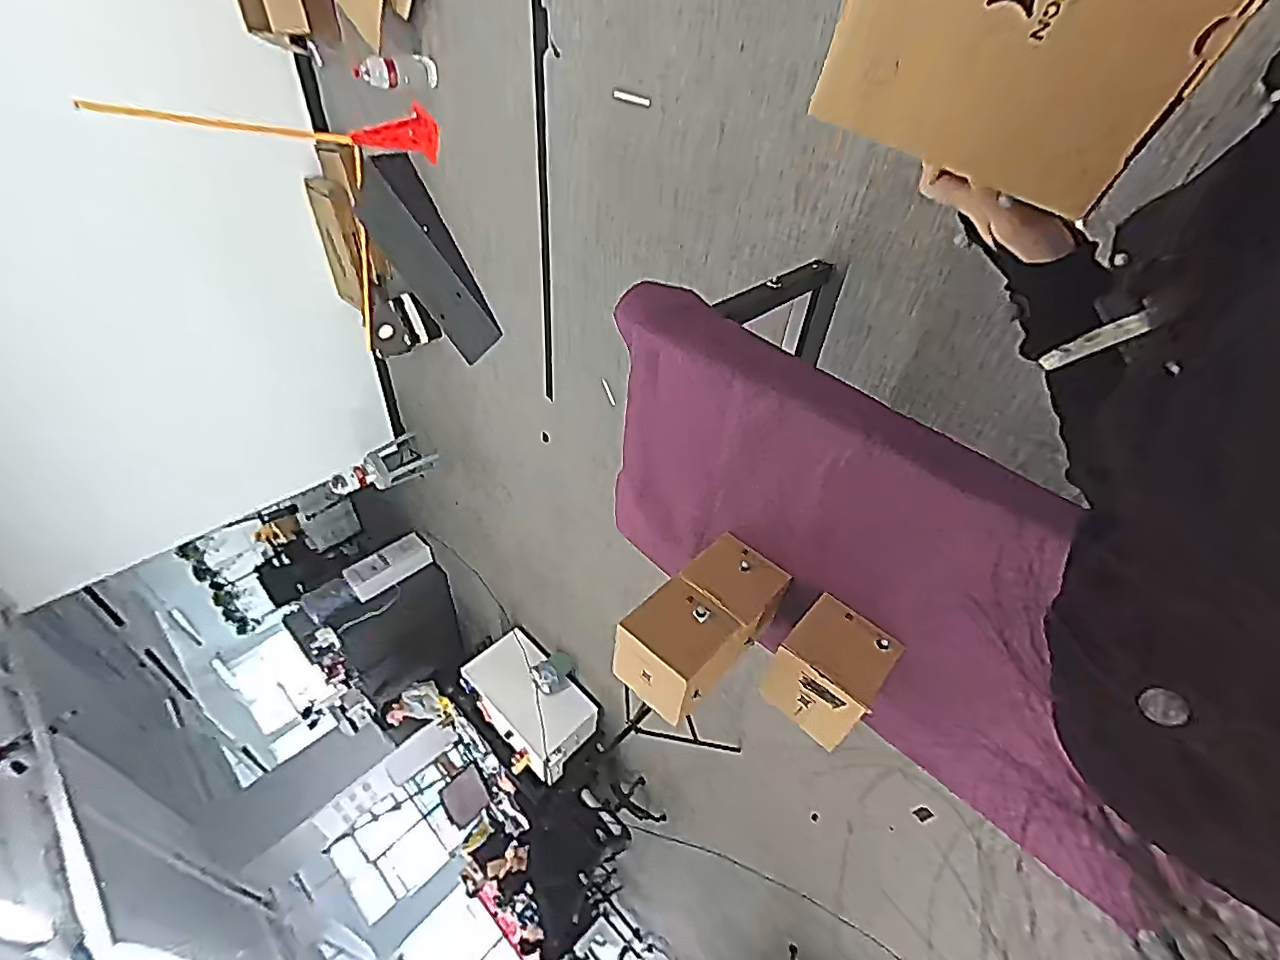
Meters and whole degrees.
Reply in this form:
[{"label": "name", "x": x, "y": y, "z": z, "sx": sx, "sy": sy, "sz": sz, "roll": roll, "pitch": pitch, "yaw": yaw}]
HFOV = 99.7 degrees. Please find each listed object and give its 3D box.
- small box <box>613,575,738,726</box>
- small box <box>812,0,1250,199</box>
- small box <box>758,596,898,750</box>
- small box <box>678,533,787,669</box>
[{"label": "small box", "x": 0.067, "y": 0.321, "z": 1.037, "sx": 0.168, "sy": 0.176, "sz": 0.179, "roll": 32, "pitch": 136, "yaw": 28}, {"label": "small box", "x": 0.235, "y": -0.293, "z": 0.307, "sx": 0.179, "sy": 0.176, "sz": 0.168, "roll": 32, "pitch": 140, "yaw": 13}, {"label": "small box", "x": 0.352, "y": 0.351, "z": 1.008, "sx": 0.168, "sy": 0.176, "sz": 0.179, "roll": 35, "pitch": 139, "yaw": 27}, {"label": "small box", "x": 0.181, "y": 0.248, "z": 1.126, "sx": 0.168, "sy": 0.176, "sz": 0.179, "roll": 34, "pitch": 138, "yaw": 26}]
